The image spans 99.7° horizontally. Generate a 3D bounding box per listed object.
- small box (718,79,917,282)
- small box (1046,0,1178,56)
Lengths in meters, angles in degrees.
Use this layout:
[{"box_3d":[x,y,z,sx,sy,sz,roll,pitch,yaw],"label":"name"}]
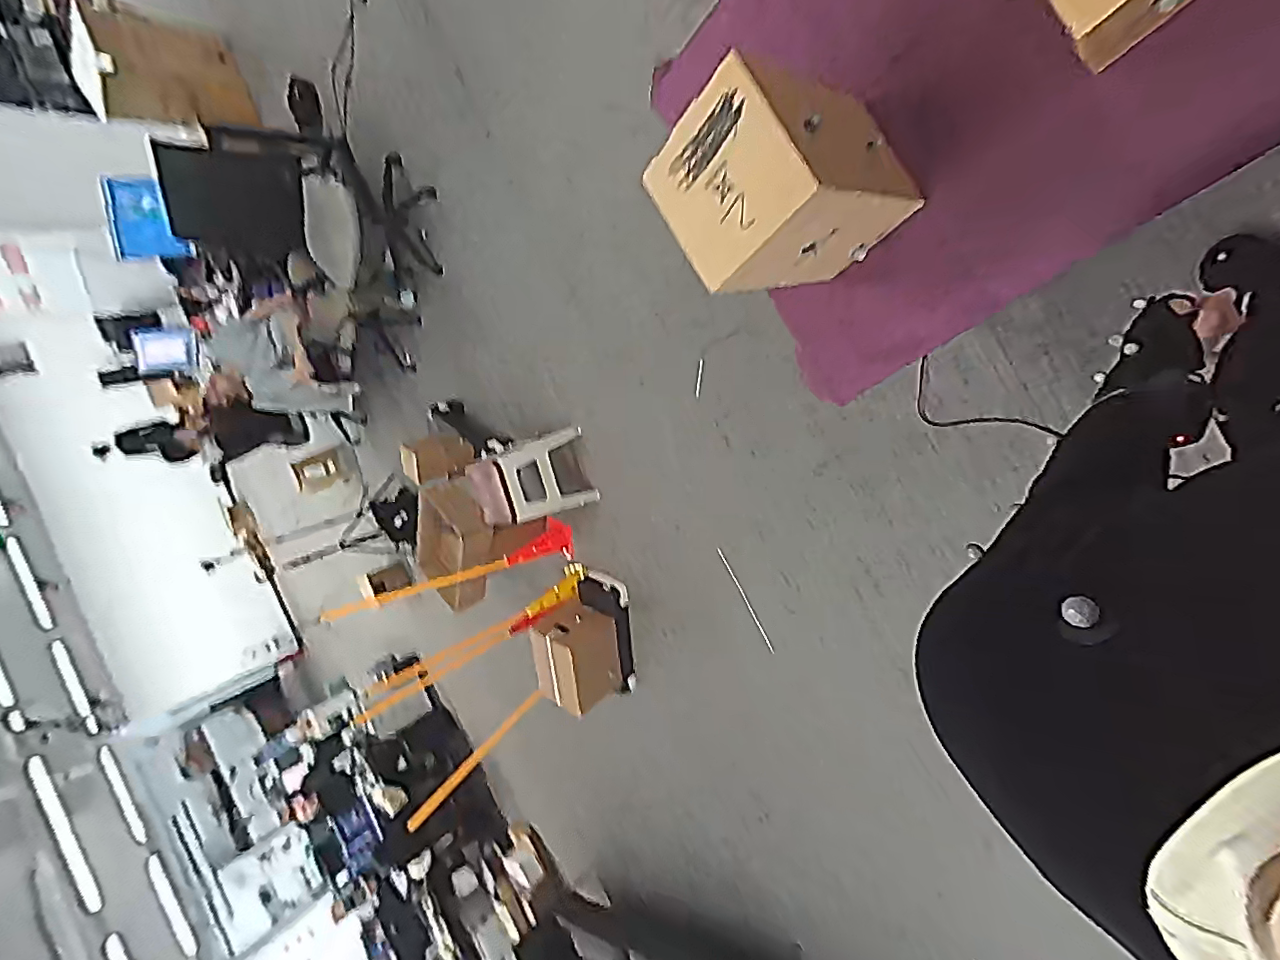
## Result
[{"box_3d":[0.249,-0.402,0.756,0.168,0.176,0.179,-35,84,47],"label":"small box"},{"box_3d":[0.460,-0.536,0.495,0.168,0.176,0.179,-34,83,47],"label":"small box"}]
